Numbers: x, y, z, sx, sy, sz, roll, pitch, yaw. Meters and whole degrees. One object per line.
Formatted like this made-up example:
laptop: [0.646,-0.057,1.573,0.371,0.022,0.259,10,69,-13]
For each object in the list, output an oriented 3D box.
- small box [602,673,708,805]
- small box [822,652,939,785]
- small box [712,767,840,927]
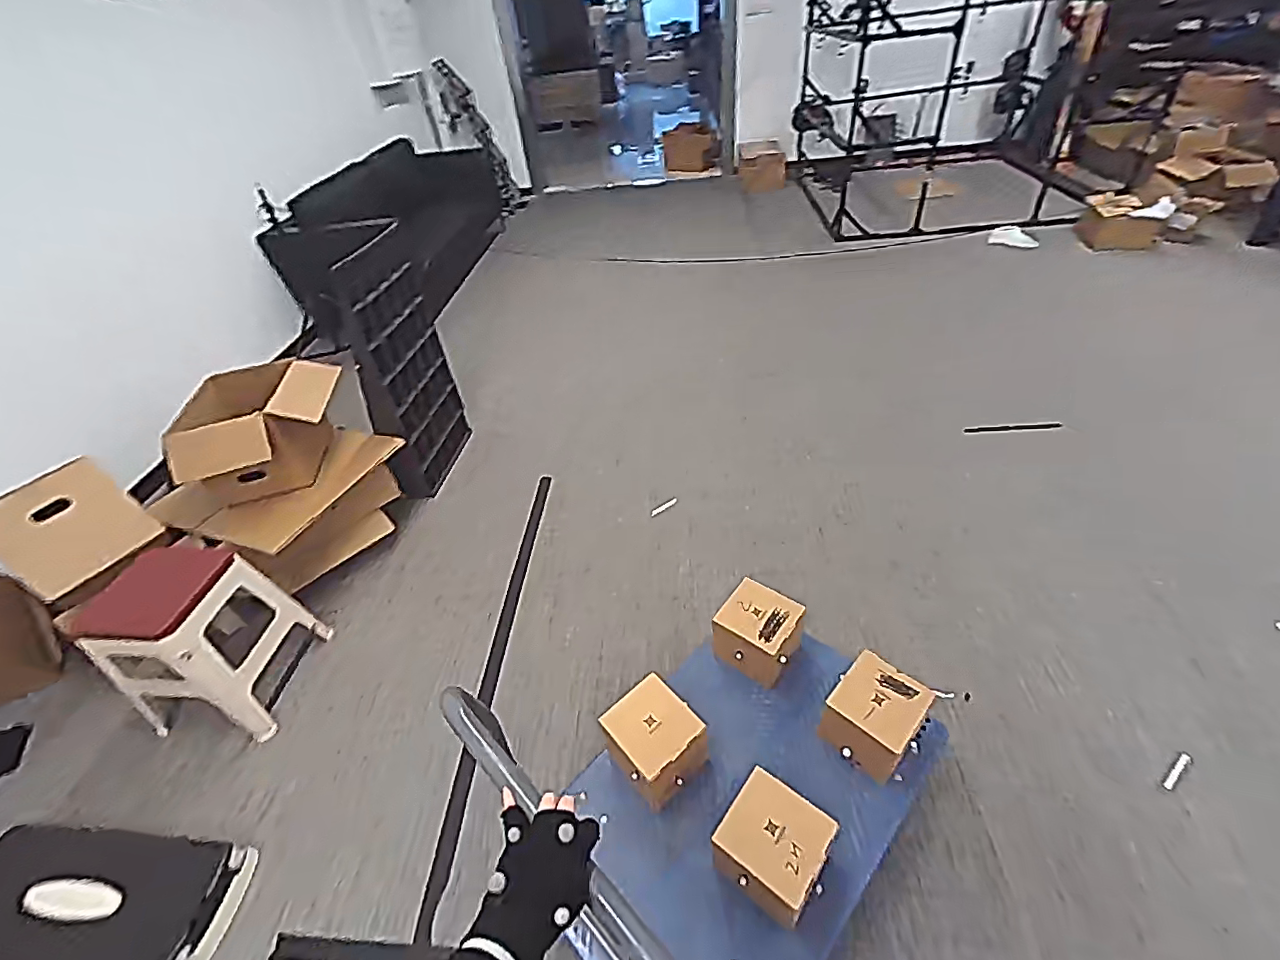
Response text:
small box: [0.035,0.583,1.215,0.168,0.176,0.179,-32,48,-27]
small box: [0.525,0.529,1.202,0.179,0.176,0.168,-36,48,-28]
small box: [0.255,0.705,1.038,0.179,0.176,0.168,26,50,33]
